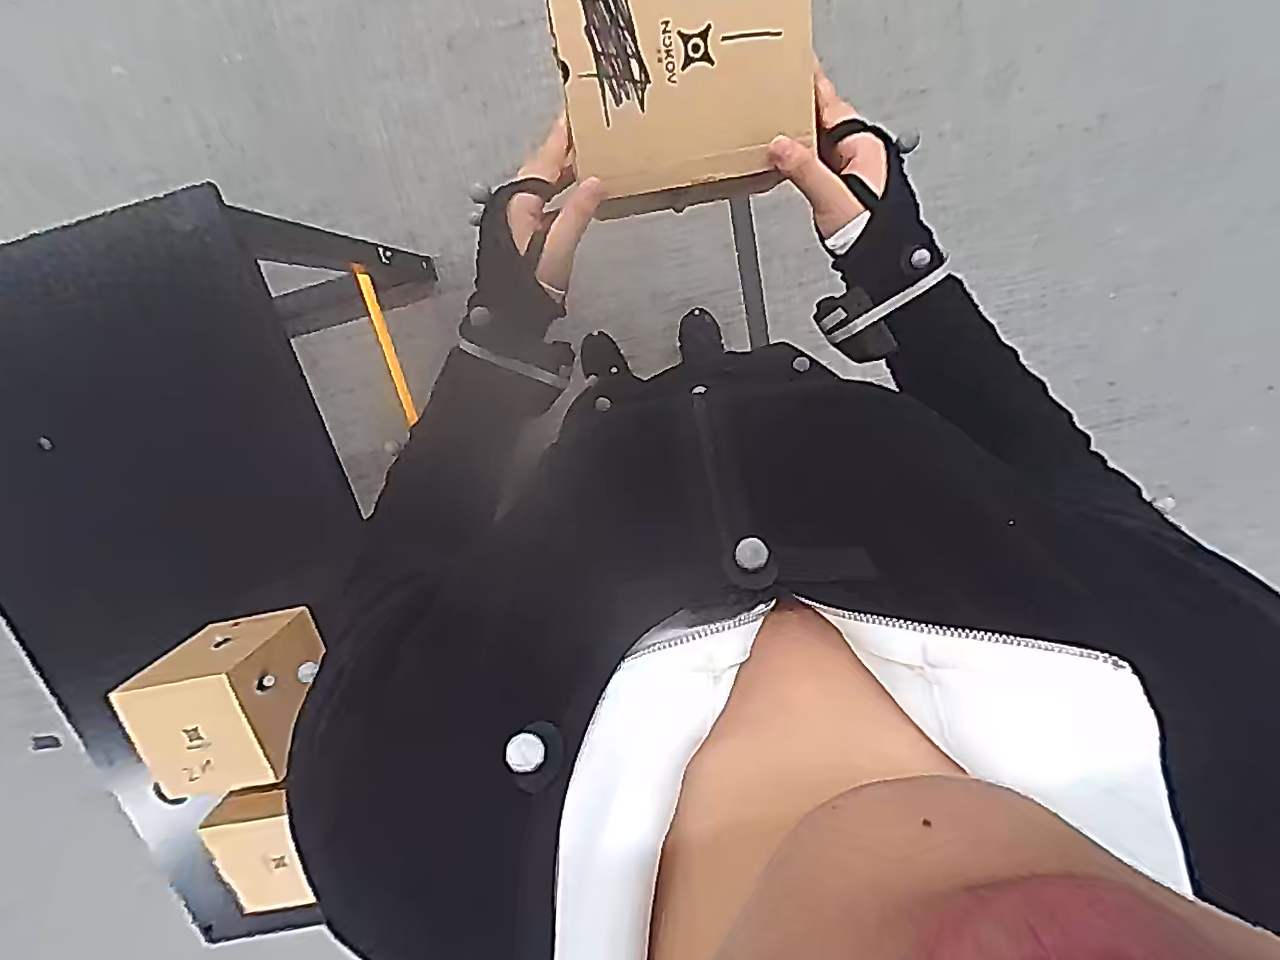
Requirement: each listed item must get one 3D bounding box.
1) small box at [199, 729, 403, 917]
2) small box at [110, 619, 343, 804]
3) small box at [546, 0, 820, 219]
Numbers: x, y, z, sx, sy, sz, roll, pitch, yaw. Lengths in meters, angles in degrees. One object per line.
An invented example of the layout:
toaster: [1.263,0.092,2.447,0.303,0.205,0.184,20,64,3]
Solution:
small box: [-0.504,0.518,0.833,0.179,0.176,0.168,-13,107,4]
small box: [-0.569,0.317,0.773,0.168,0.176,0.179,-11,106,5]
small box: [0.031,-0.317,0.434,0.179,0.176,0.168,-8,111,3]
